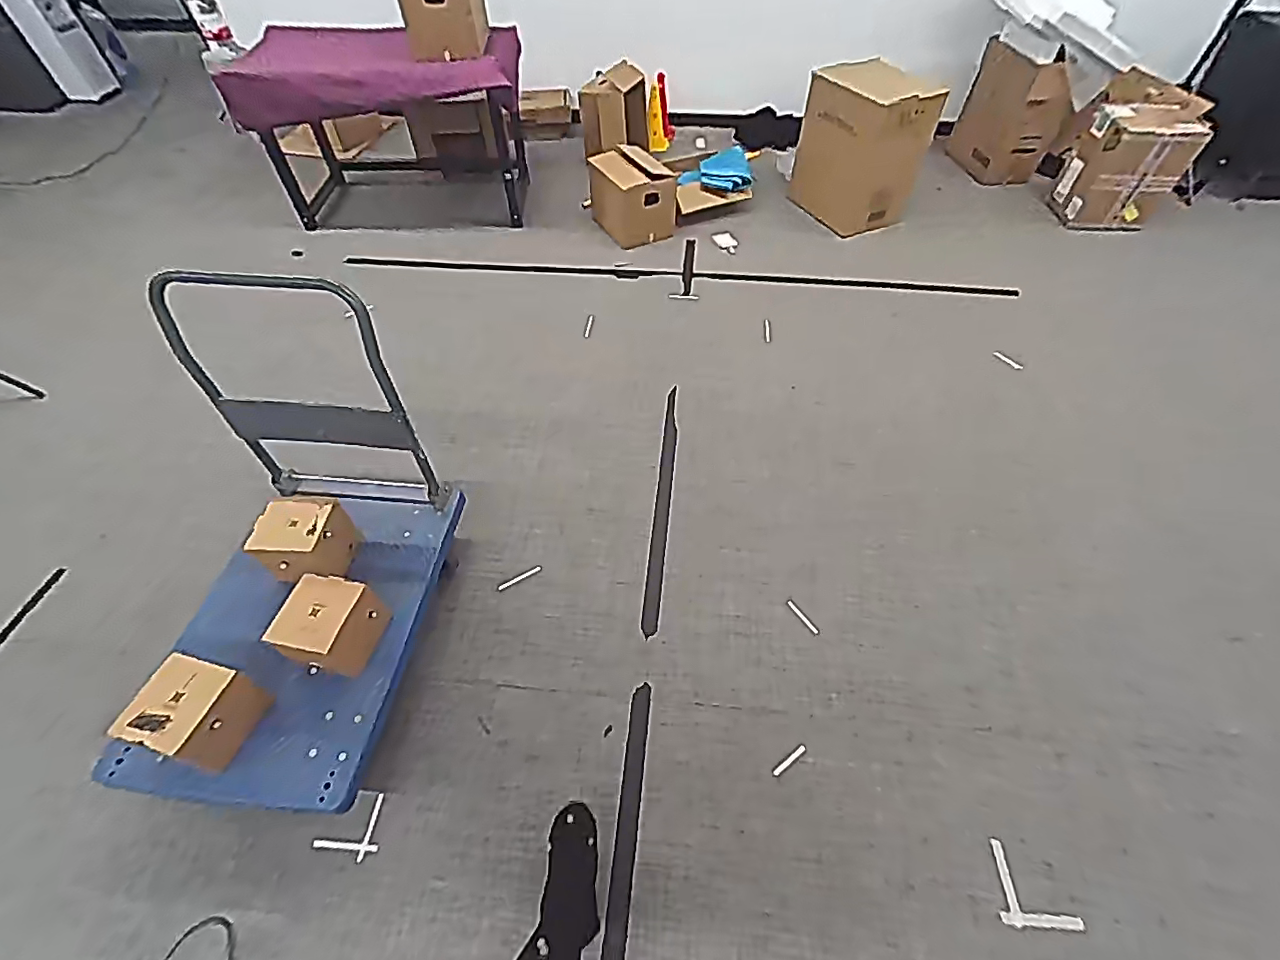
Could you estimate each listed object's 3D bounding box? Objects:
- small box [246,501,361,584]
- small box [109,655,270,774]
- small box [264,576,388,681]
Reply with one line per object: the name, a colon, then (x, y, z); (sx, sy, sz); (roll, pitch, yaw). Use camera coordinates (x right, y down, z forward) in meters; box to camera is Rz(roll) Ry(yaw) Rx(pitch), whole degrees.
small box: (-0.893, 0.171, 1.452); (0.179, 0.176, 0.168); (1, 52, 2)
small box: (-0.961, 0.514, 1.176); (0.168, 0.176, 0.179); (12, 51, 9)
small box: (-0.740, 0.360, 1.303); (0.168, 0.176, 0.179); (8, 53, 9)
